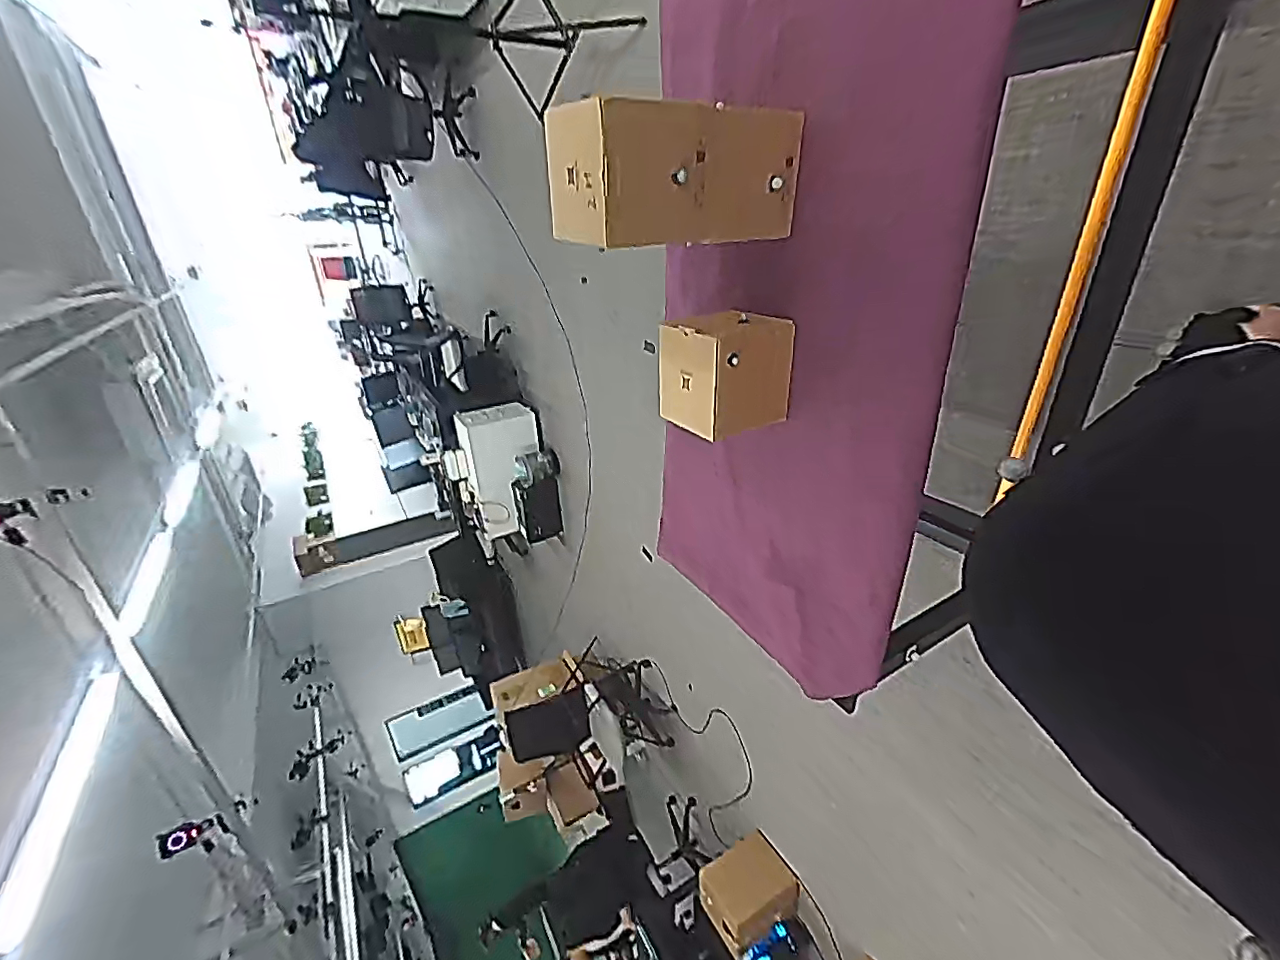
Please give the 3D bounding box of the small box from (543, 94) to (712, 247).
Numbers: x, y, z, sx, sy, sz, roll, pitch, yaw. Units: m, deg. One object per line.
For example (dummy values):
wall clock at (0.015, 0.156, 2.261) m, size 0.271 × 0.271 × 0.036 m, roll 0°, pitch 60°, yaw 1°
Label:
small box at (-0.020, -0.429, 0.758) m, size 0.179 × 0.176 × 0.168 m, roll 38°, pitch 138°, yaw 48°

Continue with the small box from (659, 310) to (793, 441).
small box at (0.148, -0.190, 0.948) m, size 0.168 × 0.176 × 0.179 m, roll 36°, pitch 135°, yaw 51°

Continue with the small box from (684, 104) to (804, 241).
small box at (0.121, -0.469, 0.833) m, size 0.179 × 0.176 × 0.168 m, roll 39°, pitch 138°, yaw 48°
